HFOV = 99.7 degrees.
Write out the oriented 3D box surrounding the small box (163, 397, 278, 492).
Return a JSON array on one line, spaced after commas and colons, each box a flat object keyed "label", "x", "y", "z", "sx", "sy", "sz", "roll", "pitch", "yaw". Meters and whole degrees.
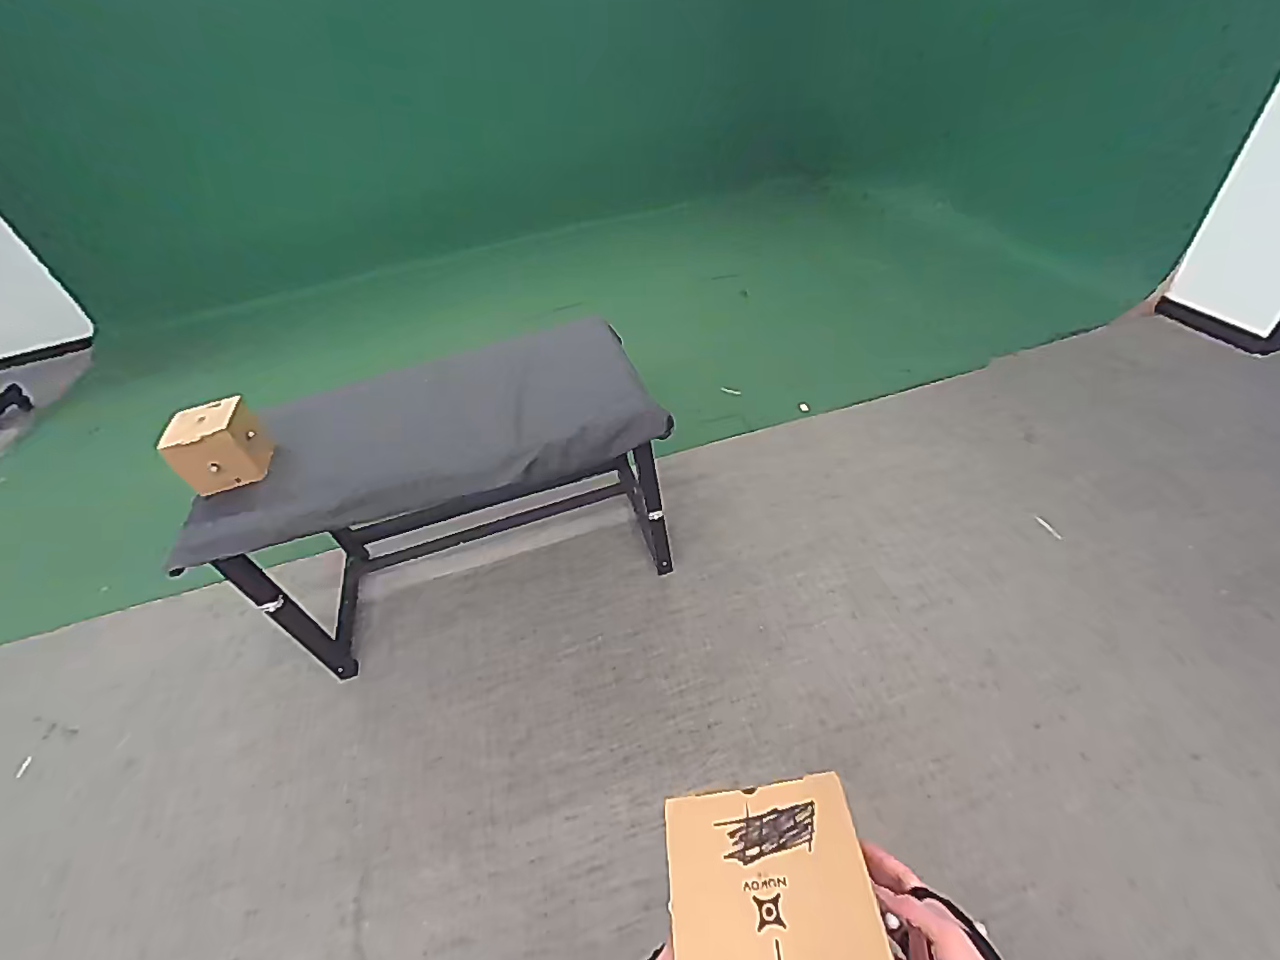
[{"label": "small box", "x": -1.104, "y": -0.089, "z": 1.441, "sx": 0.168, "sy": 0.176, "sz": 0.179, "roll": -18, "pitch": 44, "yaw": -9}]
